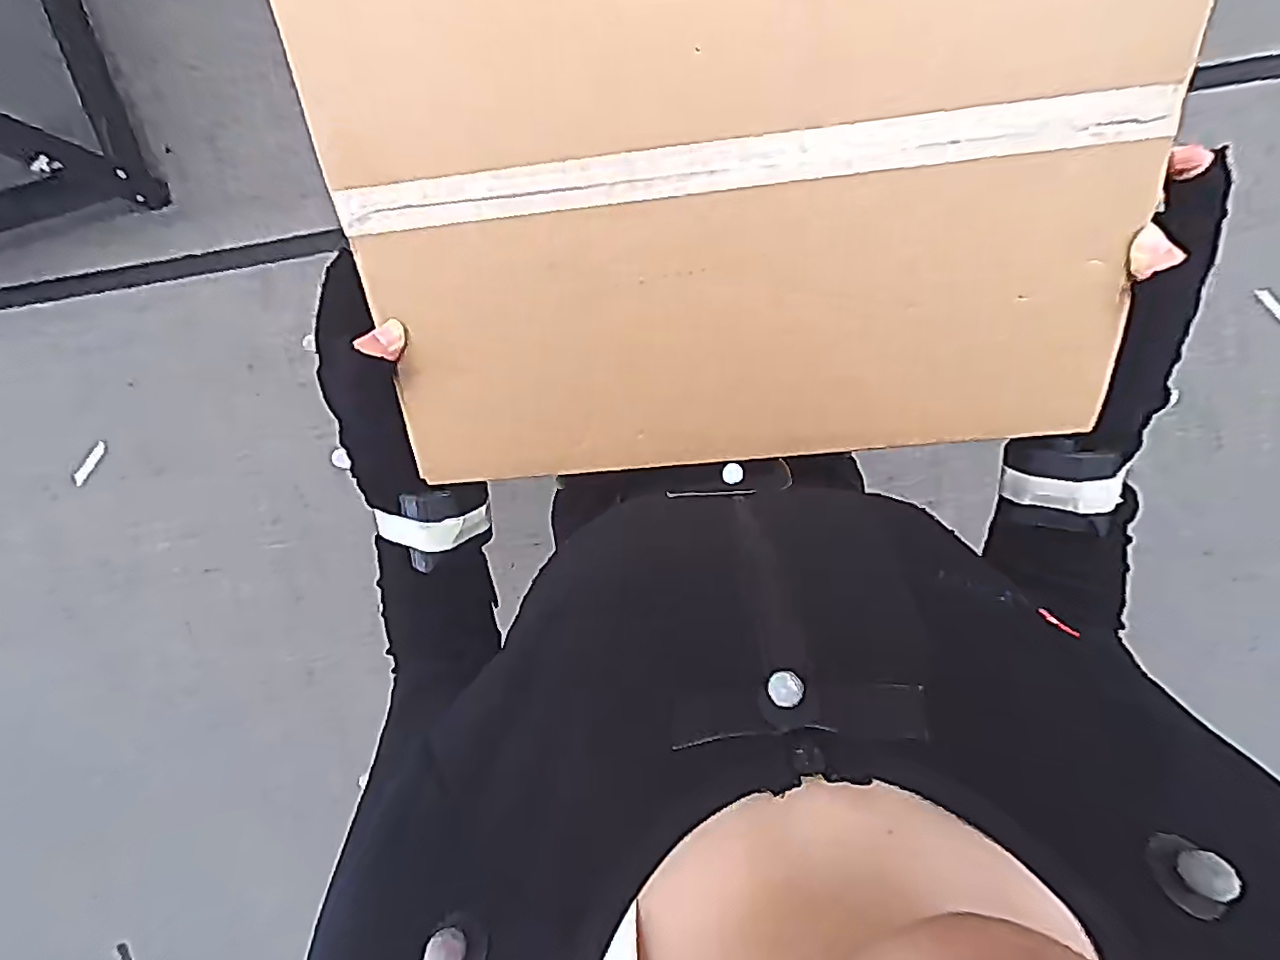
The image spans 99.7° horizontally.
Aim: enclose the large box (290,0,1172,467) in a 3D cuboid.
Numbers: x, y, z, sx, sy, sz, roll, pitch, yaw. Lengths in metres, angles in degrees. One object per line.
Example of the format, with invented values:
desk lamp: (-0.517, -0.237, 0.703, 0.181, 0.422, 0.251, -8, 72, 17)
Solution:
large box: (0.046, -0.226, 0.407, 0.408, 0.320, 0.320, -5, 117, 4)
